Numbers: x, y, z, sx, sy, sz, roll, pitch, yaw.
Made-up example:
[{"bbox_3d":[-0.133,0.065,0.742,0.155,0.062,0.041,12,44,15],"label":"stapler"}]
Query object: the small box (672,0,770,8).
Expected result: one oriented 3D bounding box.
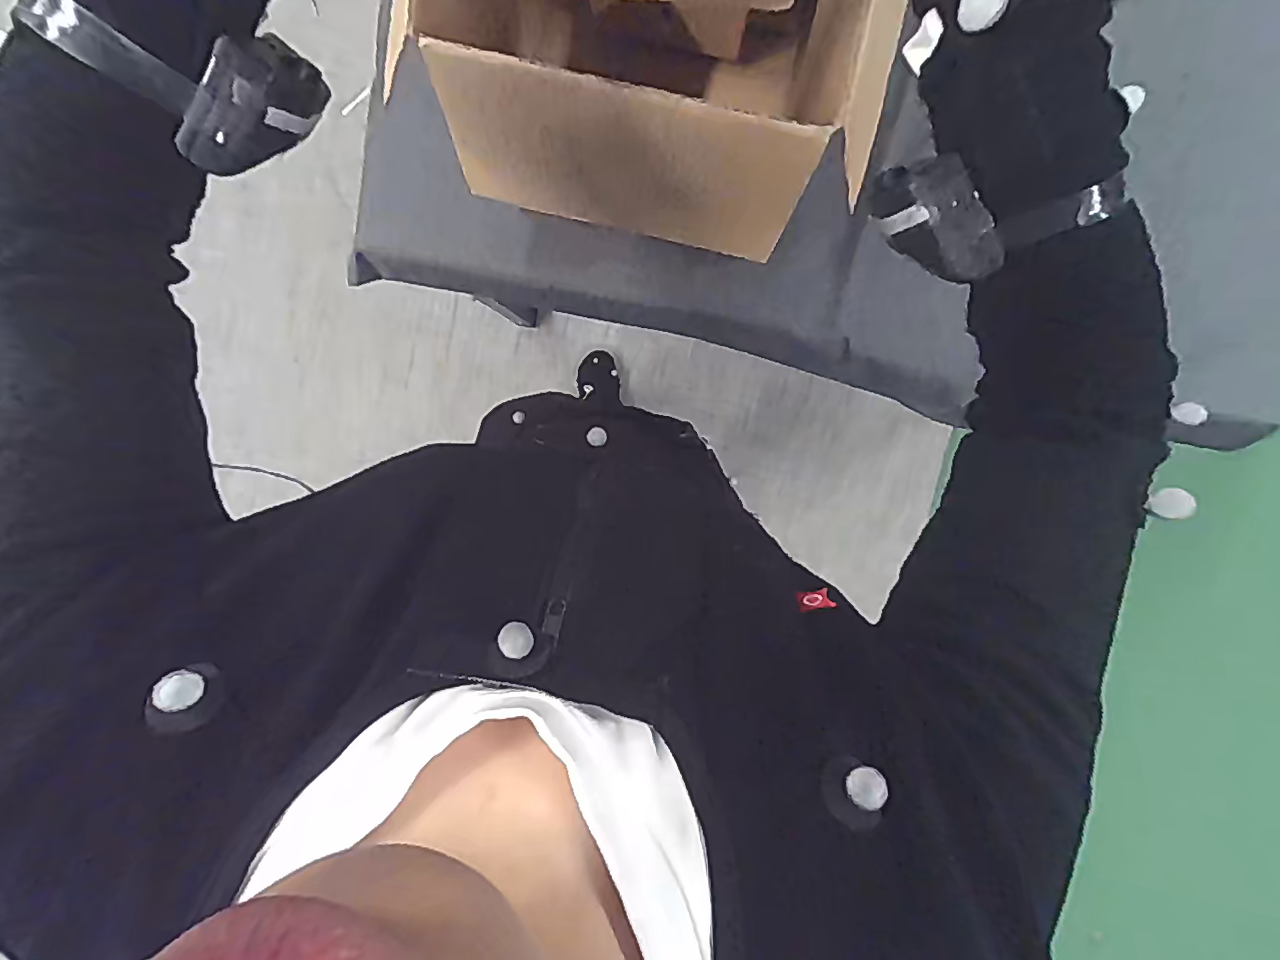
[{"bbox_3d":[0.018,-0.384,0.270,0.179,0.176,0.168,6,103,1],"label":"small box"}]
